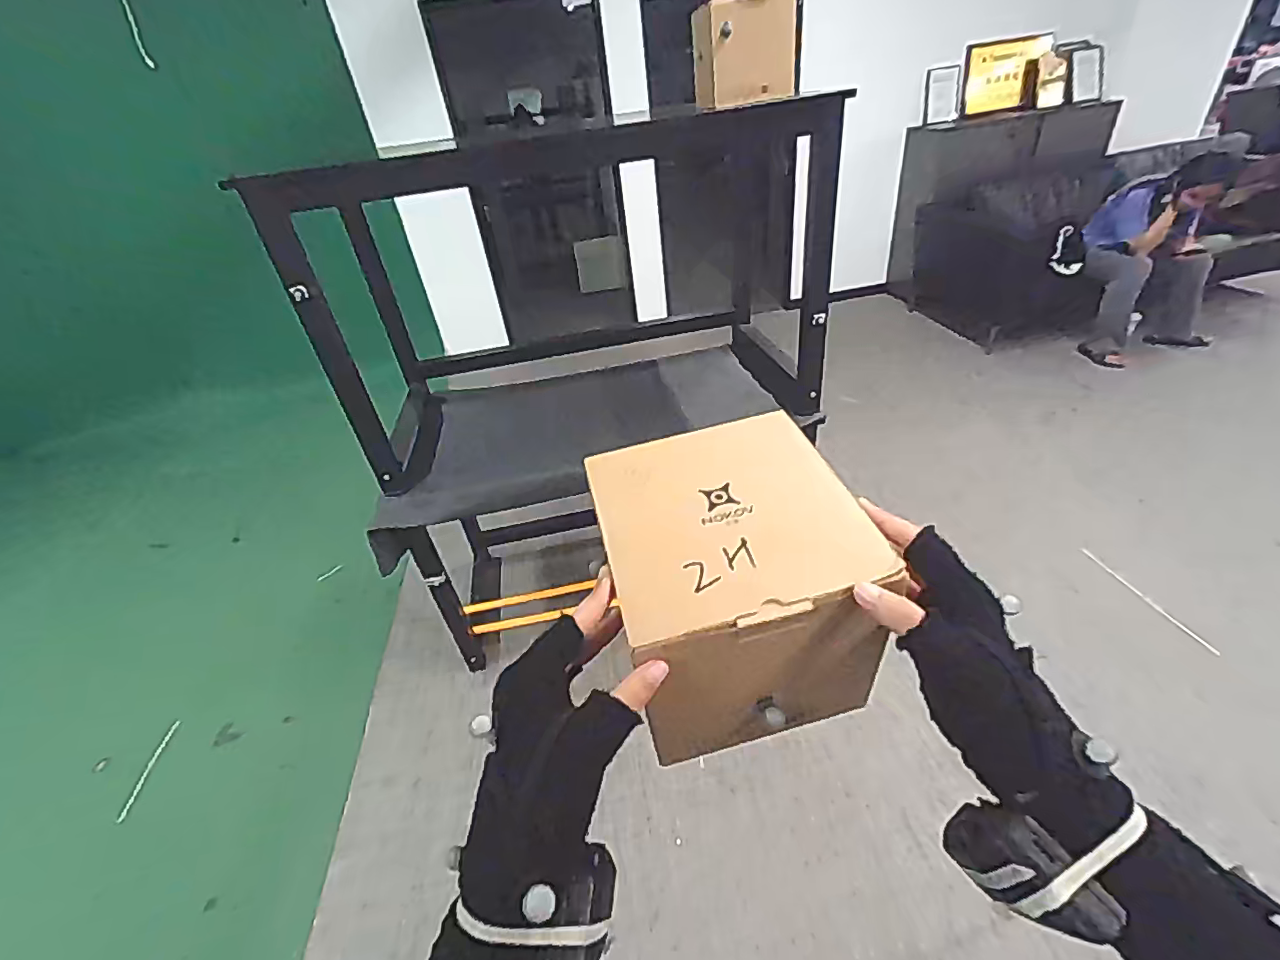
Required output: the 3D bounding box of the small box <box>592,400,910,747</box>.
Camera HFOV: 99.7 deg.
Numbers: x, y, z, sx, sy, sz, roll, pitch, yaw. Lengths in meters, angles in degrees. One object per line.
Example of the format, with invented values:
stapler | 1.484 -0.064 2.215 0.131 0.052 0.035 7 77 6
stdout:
small box | 0.068 0.068 0.415 0.168 0.176 0.179 -15 42 -4
